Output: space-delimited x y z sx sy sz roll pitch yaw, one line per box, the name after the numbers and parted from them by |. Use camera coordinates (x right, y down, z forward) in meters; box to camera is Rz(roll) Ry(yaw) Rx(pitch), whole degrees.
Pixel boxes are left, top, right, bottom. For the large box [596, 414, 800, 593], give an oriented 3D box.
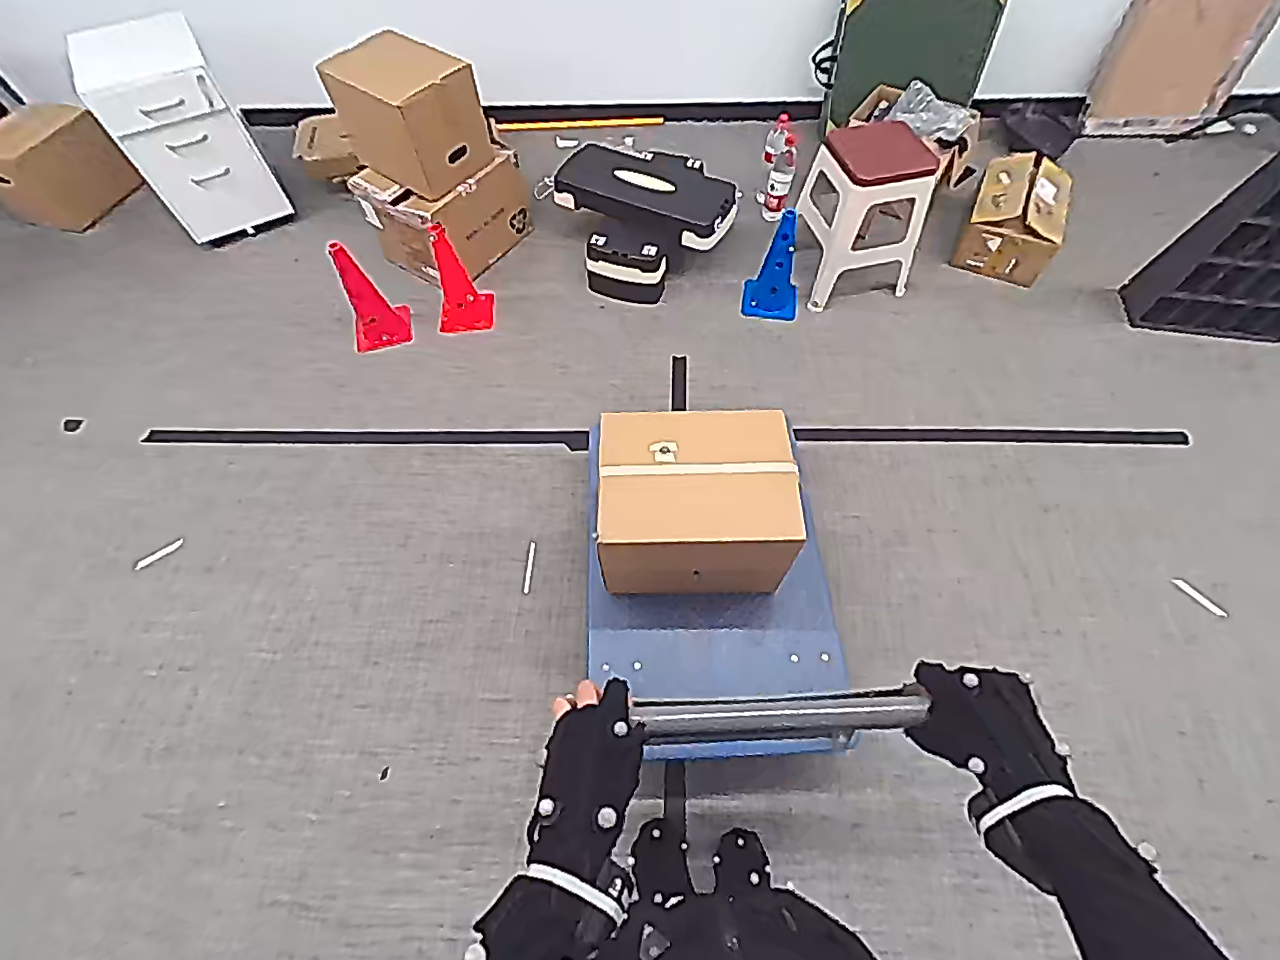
0.116 0.067 1.253 0.408 0.320 0.320 -2 60 1 | large box
